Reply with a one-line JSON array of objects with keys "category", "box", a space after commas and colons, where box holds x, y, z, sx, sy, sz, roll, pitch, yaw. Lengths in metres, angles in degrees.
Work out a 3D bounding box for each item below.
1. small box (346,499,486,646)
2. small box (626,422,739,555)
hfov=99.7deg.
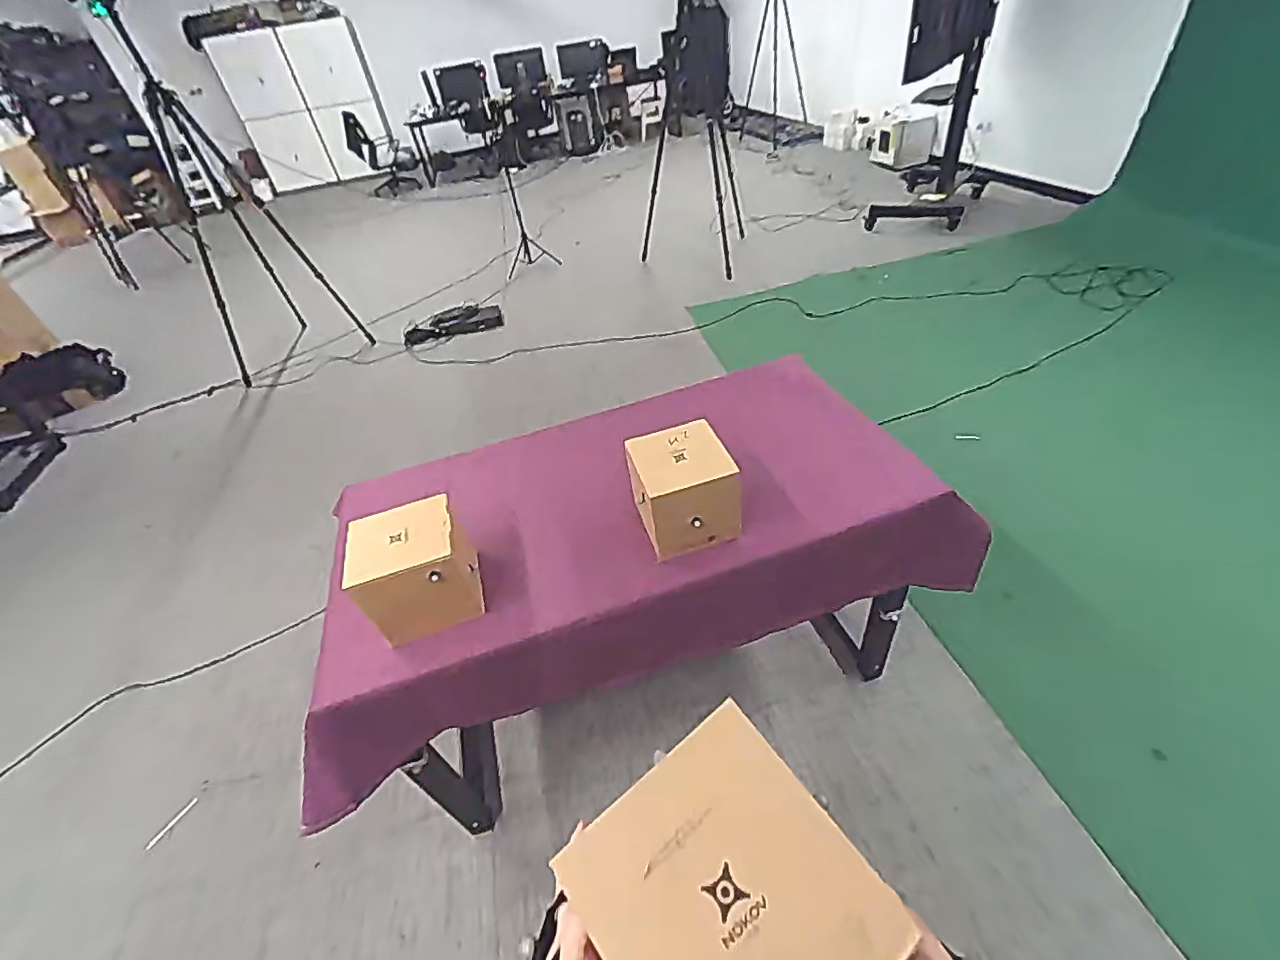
[{"category": "small box", "box": [-0.394, 0.168, 0.973, 0.179, 0.176, 0.168, -18, 41, -10]}, {"category": "small box", "box": [0.084, 0.022, 1.031, 0.168, 0.176, 0.179, -16, 41, -6]}]
